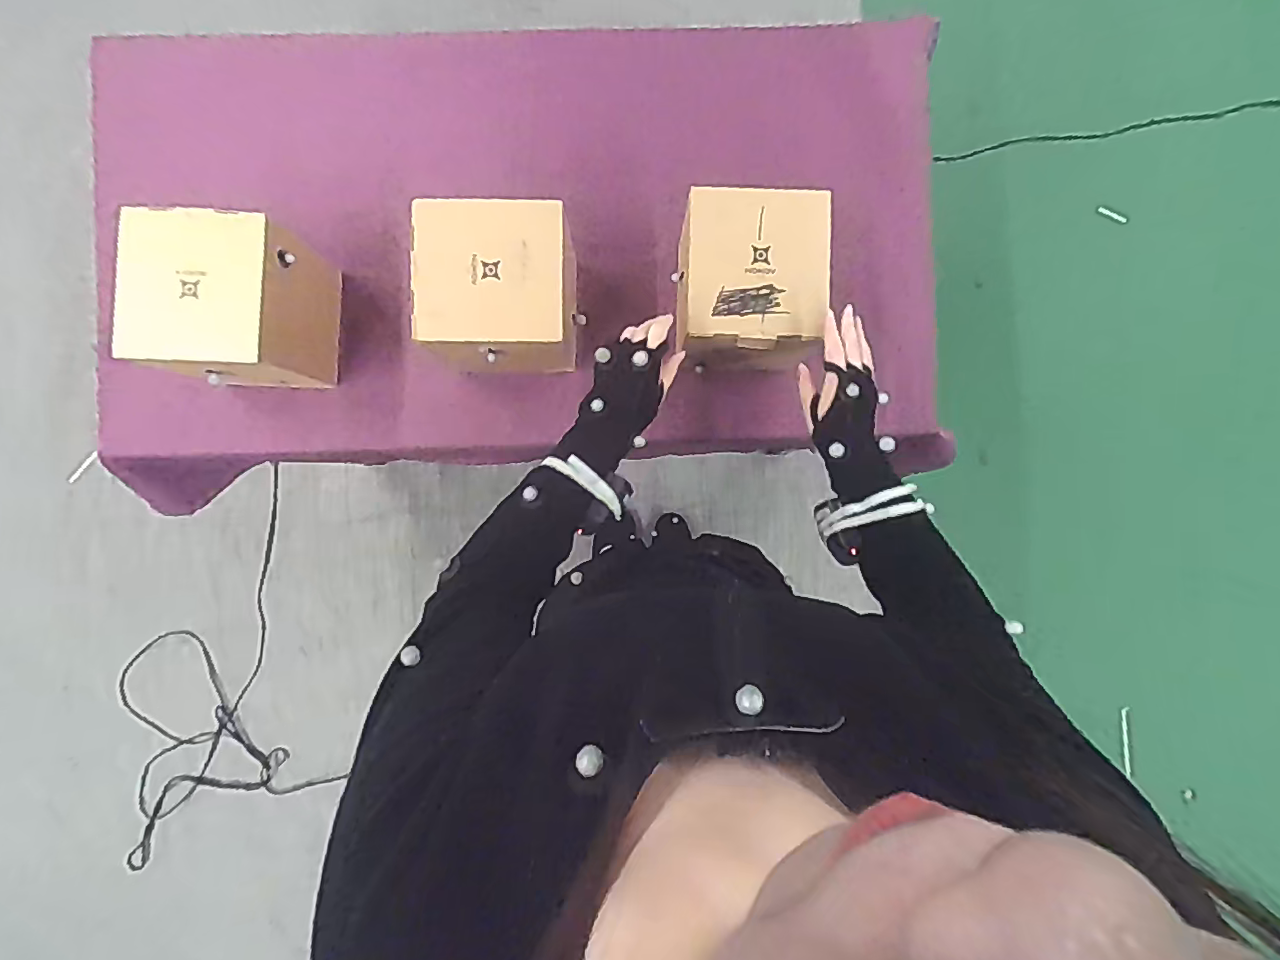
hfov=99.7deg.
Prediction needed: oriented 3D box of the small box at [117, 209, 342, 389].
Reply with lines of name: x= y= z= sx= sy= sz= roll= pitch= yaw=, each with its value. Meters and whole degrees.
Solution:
small box: x=-0.512 y=-0.219 z=0.699 sx=0.168 sy=0.176 sz=0.179 roll=2 pitch=88 yaw=-1

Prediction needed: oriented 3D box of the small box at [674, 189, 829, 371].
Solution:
small box: x=0.135 y=-0.246 z=0.704 sx=0.168 sy=0.176 sz=0.179 roll=2 pitch=88 yaw=-1

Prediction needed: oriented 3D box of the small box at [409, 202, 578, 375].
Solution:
small box: x=-0.178 y=-0.236 z=0.703 sx=0.179 sy=0.176 sz=0.168 roll=1 pitch=89 yaw=-1
